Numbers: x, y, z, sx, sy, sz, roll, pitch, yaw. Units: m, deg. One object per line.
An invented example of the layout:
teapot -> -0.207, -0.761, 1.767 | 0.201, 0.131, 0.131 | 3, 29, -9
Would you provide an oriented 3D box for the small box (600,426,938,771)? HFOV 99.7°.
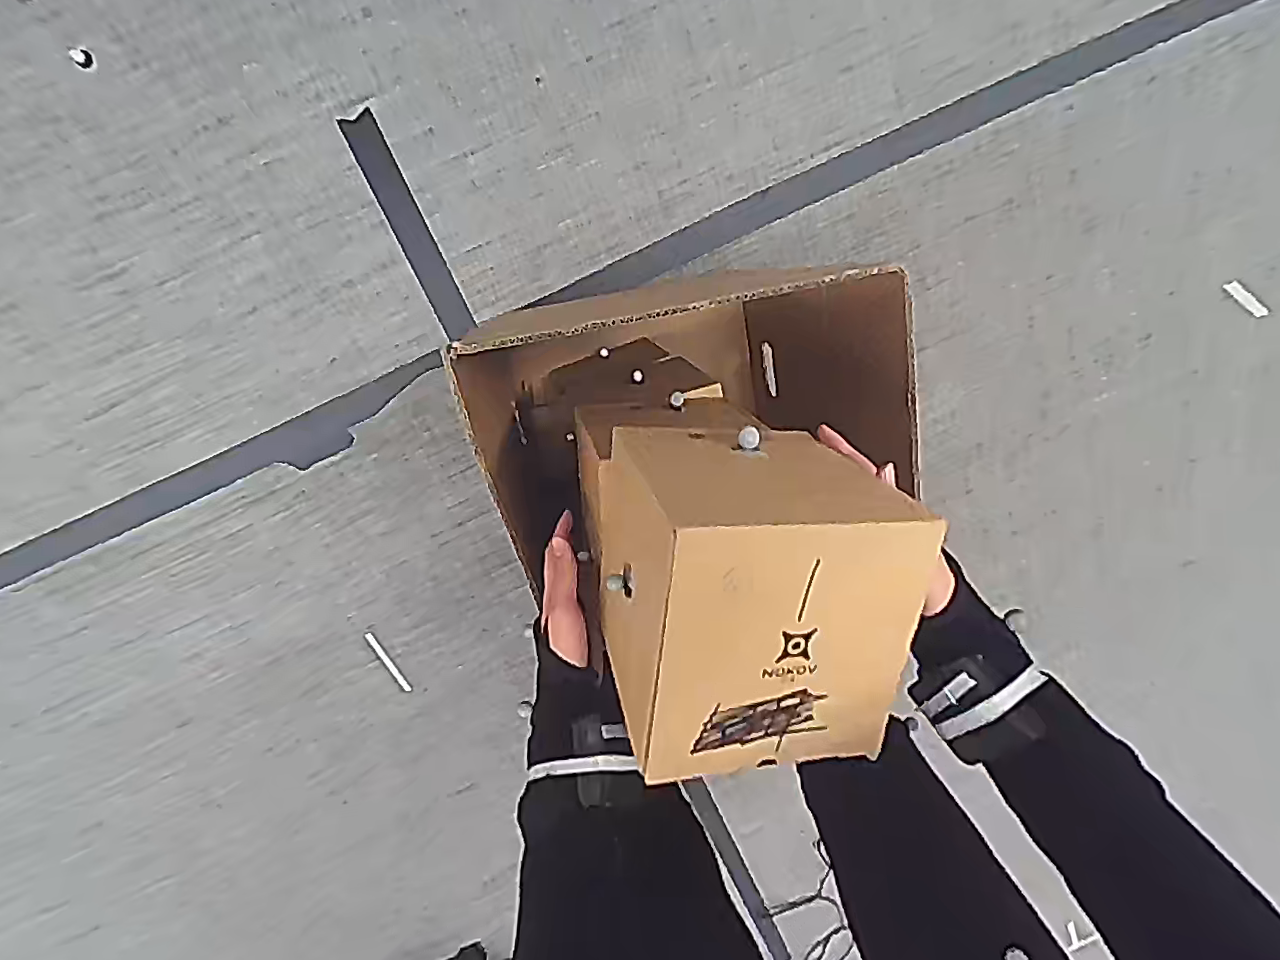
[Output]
small box -> 0.067, 0.071, 0.393 | 0.168, 0.176, 0.179 | 0, 112, -15
